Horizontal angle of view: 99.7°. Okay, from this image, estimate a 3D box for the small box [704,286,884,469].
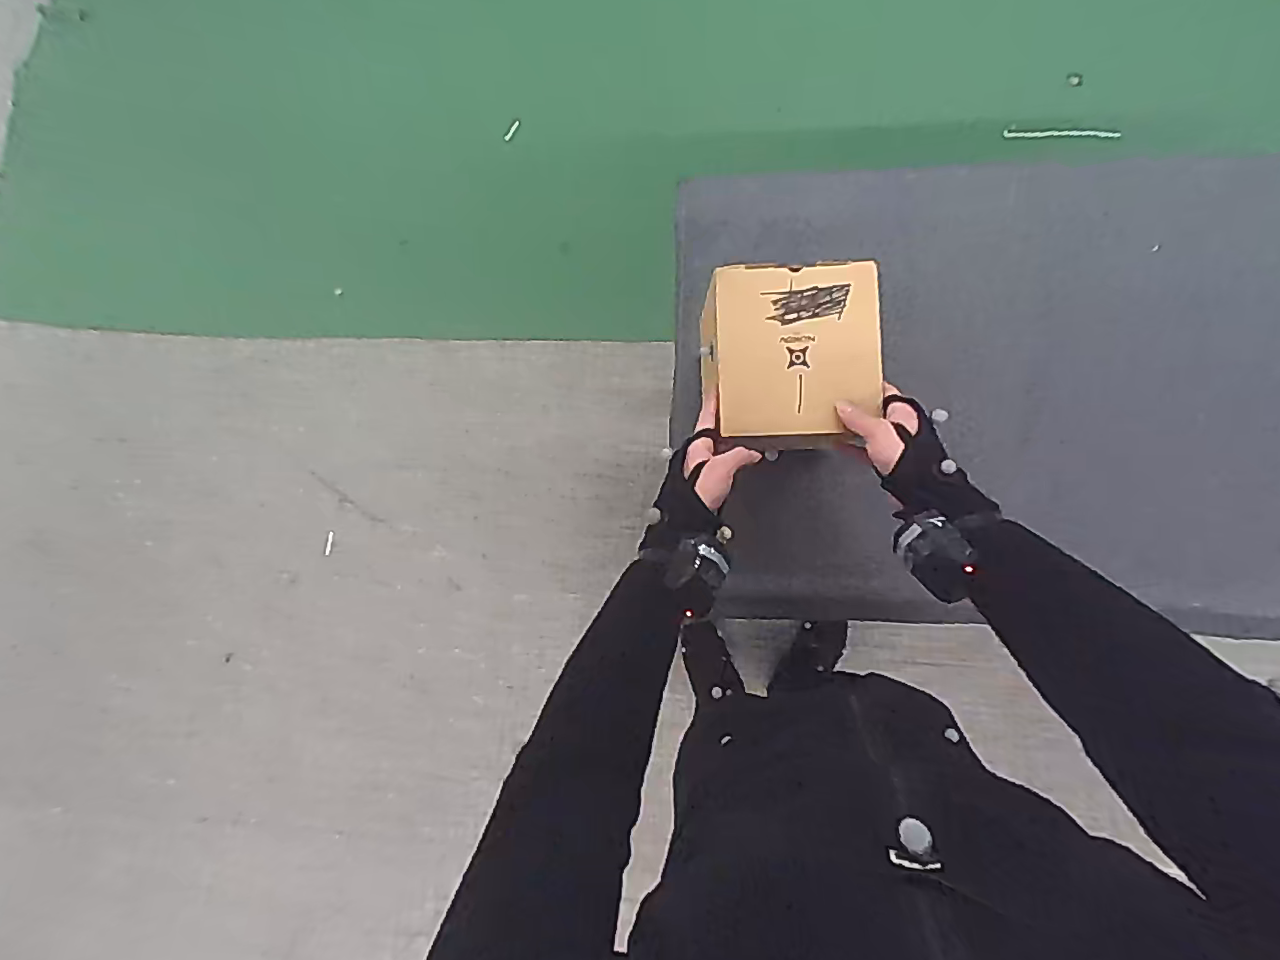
[{"bbox_3d":[0.167,-0.108,0.637,0.168,0.176,0.179,-2,87,2],"label":"small box"}]
